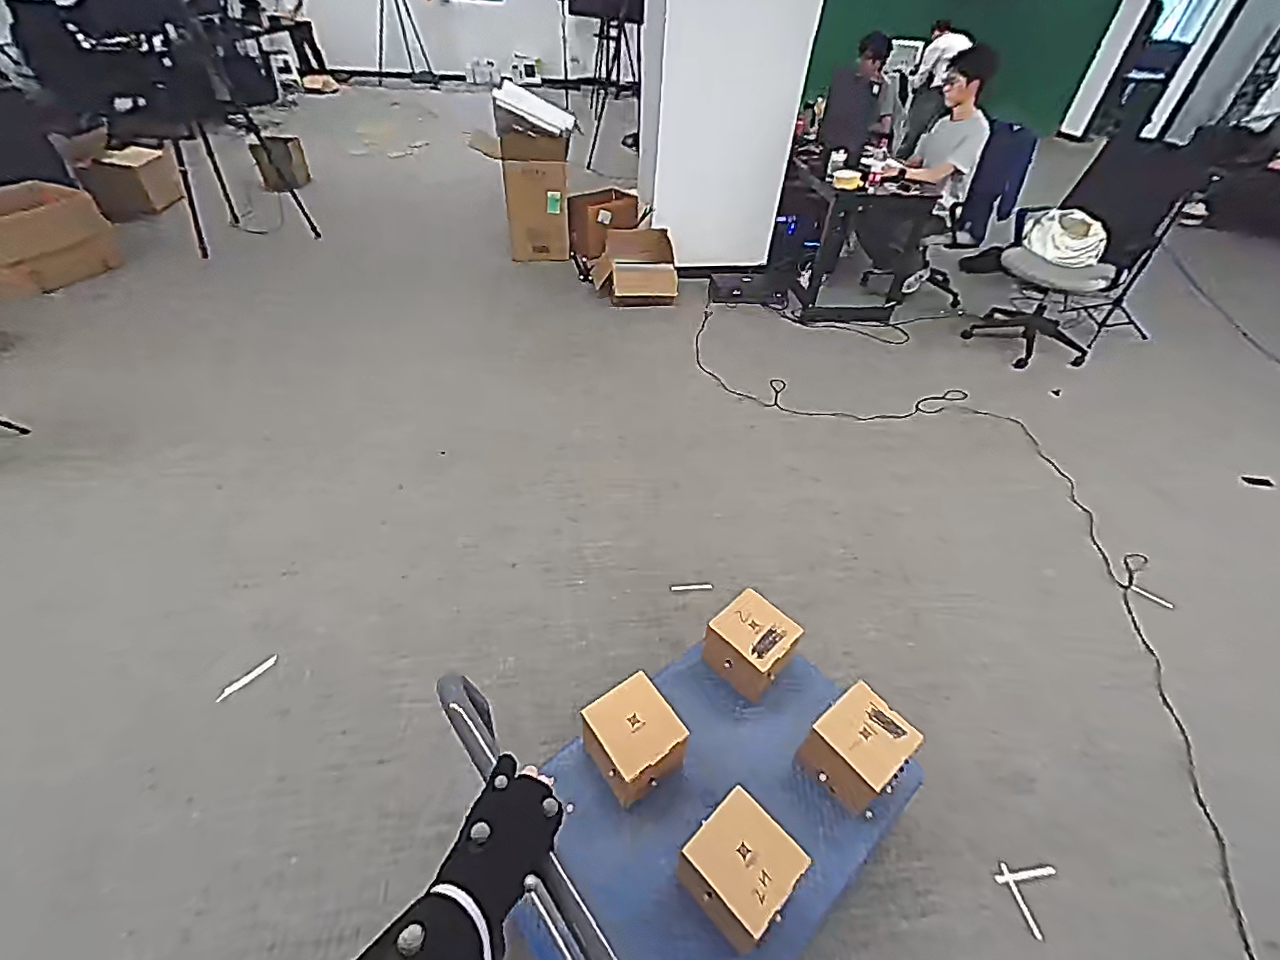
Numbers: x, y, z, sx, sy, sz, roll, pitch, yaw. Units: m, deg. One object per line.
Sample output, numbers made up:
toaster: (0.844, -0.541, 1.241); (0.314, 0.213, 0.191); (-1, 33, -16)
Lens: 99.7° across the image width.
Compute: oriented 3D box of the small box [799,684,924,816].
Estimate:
small box: (0.480, 0.597, 1.197); (0.179, 0.176, 0.168); (-27, 51, -27)

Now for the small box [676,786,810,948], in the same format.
small box: (0.186, 0.736, 1.027); (0.168, 0.176, 0.179); (-31, 53, -31)

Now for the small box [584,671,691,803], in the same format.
small box: (-0.014, 0.568, 1.194); (0.168, 0.176, 0.179); (-25, 51, -27)
